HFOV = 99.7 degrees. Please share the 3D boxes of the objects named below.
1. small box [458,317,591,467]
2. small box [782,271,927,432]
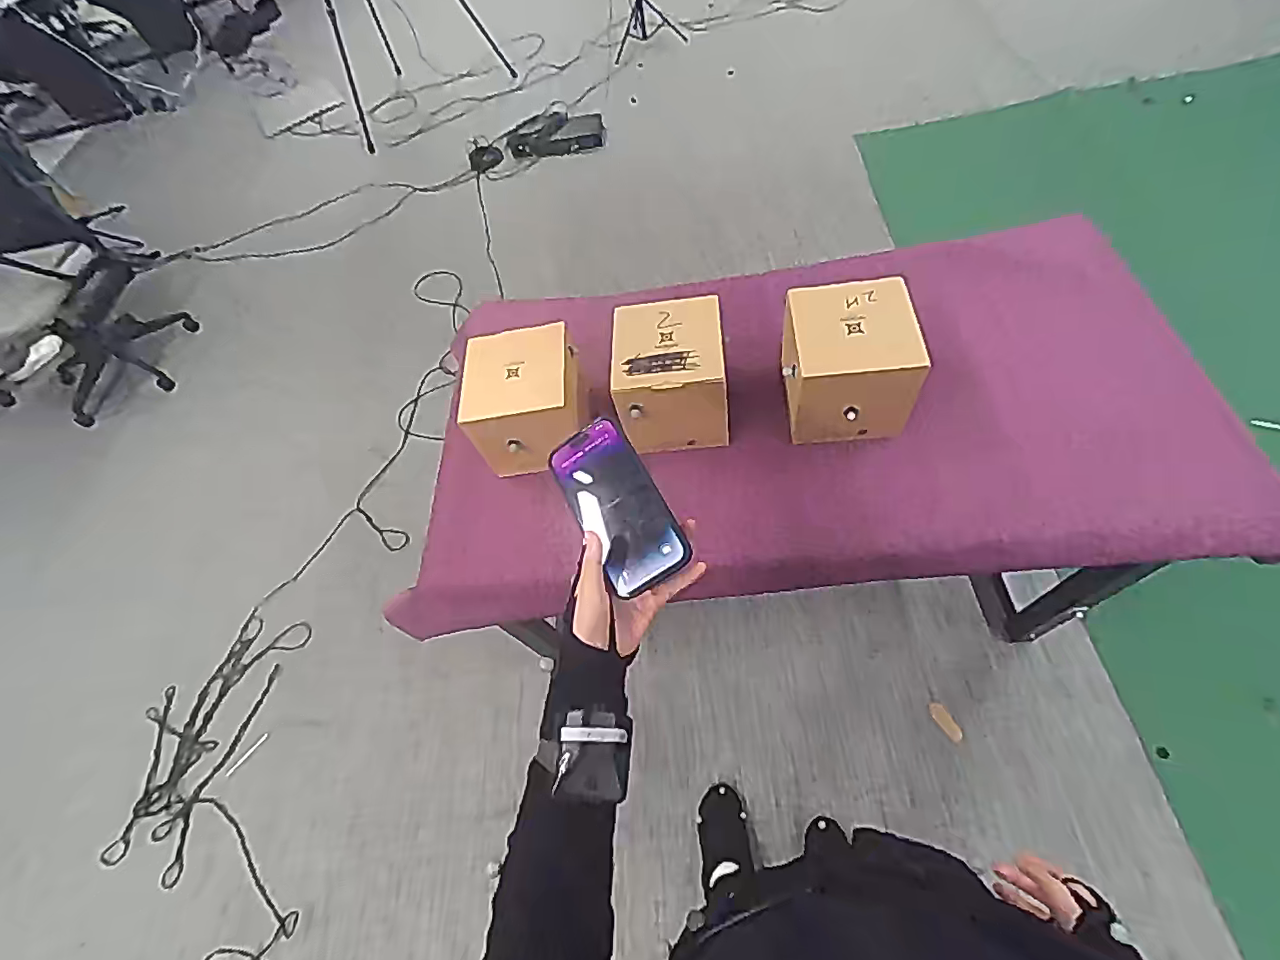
[{"bbox_3d":[-0.181,-0.135,0.896,0.168,0.176,0.179,-9,58,6],"label":"small box"},{"bbox_3d":[0.312,-0.185,0.824,0.168,0.176,0.179,-3,59,9],"label":"small box"}]
